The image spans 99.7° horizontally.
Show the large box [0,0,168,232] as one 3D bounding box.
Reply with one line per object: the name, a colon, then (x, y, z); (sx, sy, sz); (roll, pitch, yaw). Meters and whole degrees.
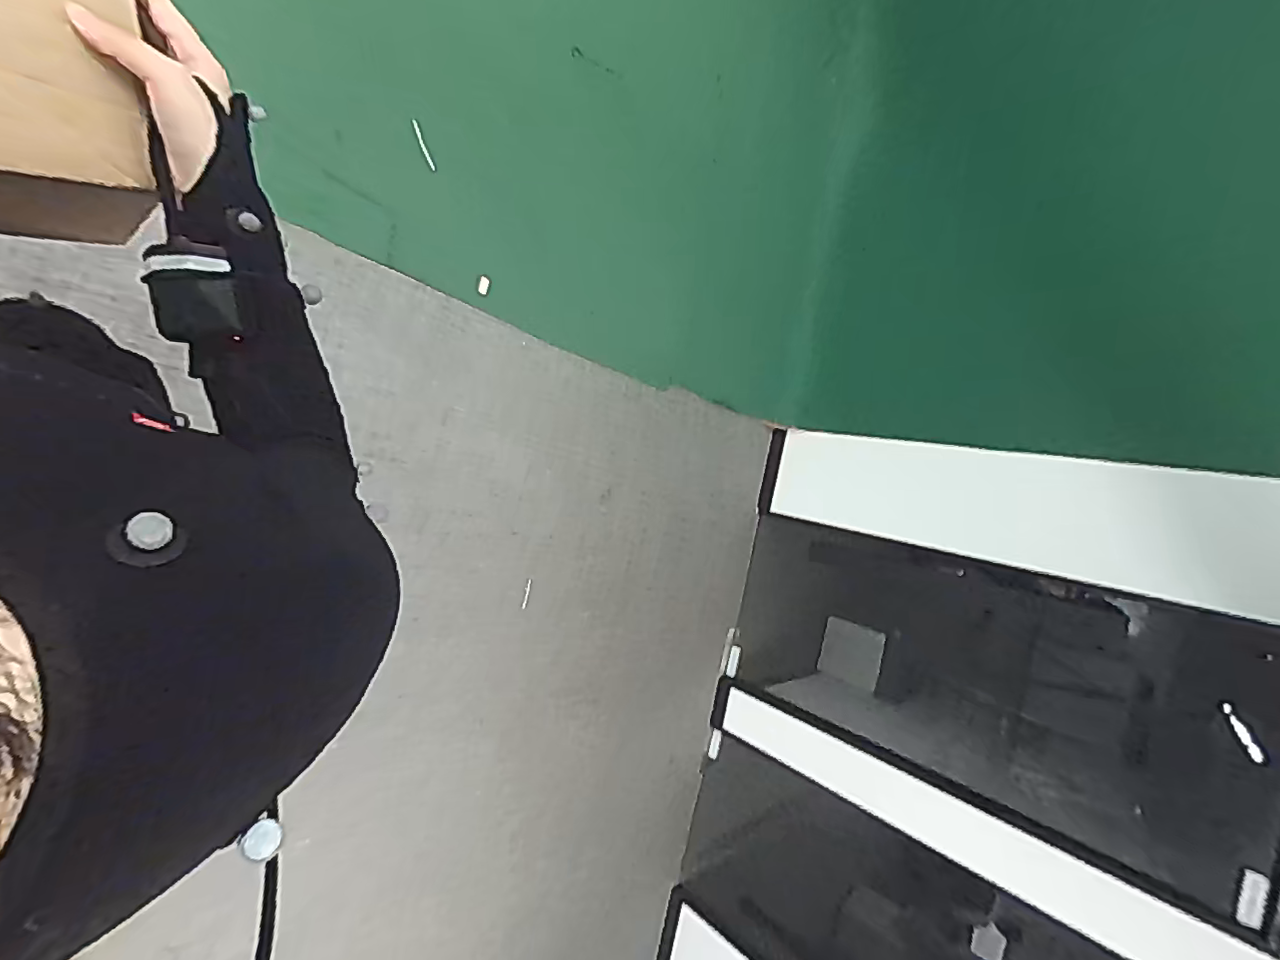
large box: (-0.582, -0.348, 0.303); (0.408, 0.320, 0.320); (-15, 112, -47)
